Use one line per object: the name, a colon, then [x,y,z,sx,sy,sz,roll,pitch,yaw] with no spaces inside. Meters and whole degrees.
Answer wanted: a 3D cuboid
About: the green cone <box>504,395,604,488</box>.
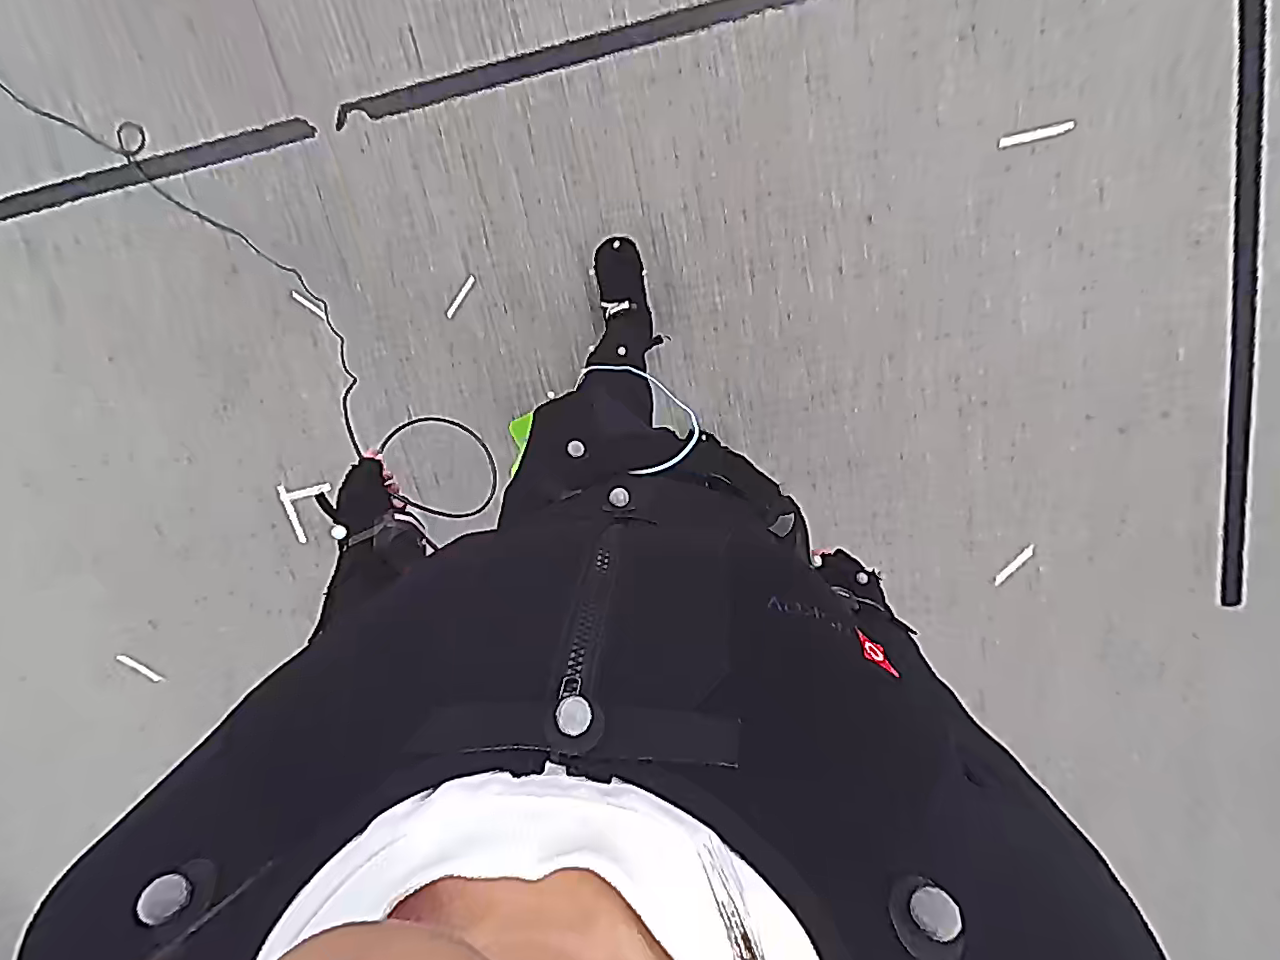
green cone: [-0.233,-0.057,1.247,0.202,0.368,0.200,-26,100,11]
